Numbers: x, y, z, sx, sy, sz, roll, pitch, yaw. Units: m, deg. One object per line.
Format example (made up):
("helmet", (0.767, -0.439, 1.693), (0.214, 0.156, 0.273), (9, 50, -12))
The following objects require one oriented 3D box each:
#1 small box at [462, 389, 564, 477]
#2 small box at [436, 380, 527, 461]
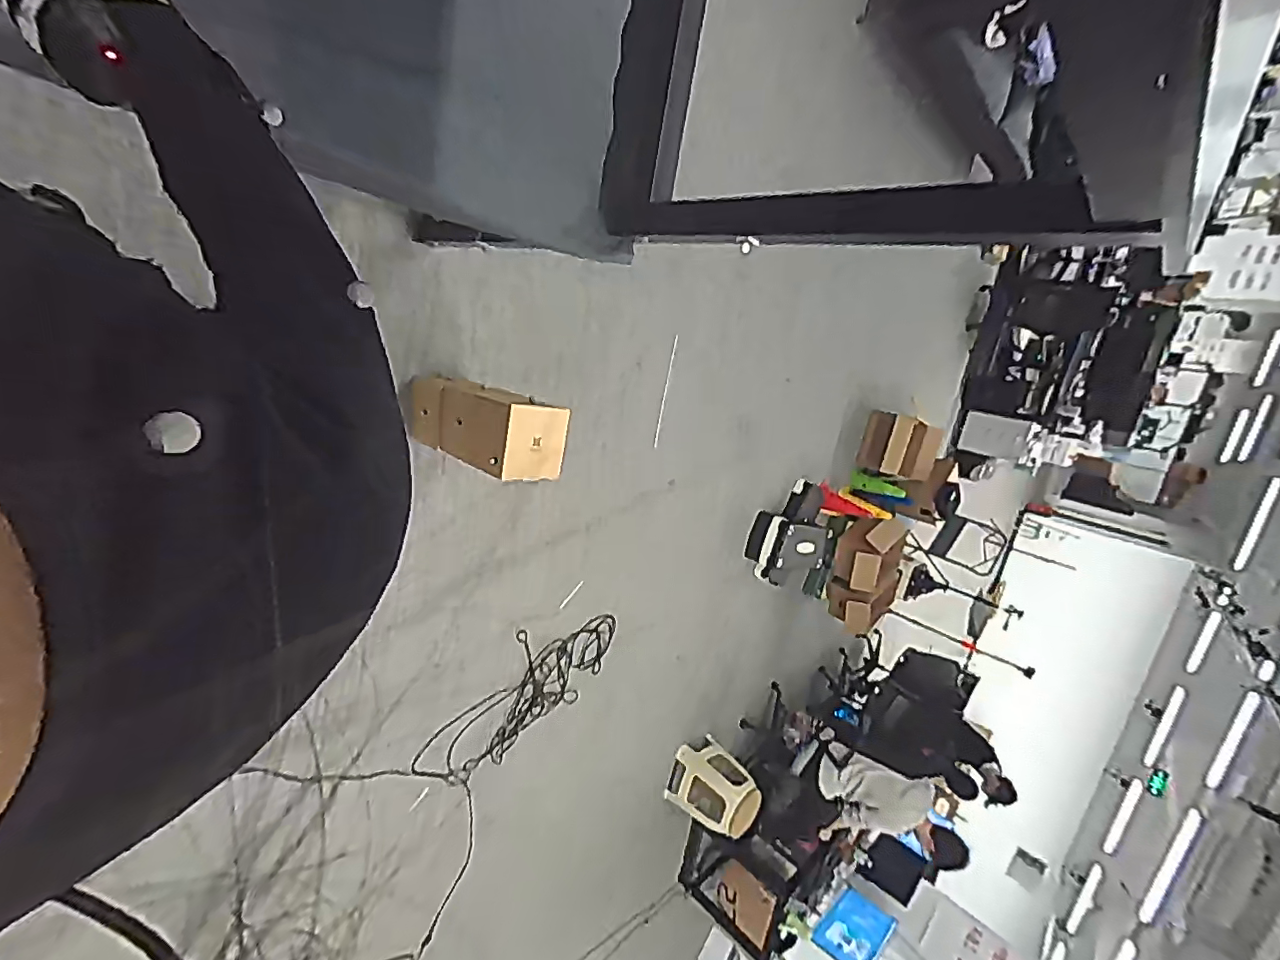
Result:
("small box", (-0.307, -0.113, 1.289), (0.168, 0.176, 0.179), (-2, 108, -46))
("small box", (-0.415, -0.155, 1.406), (0.168, 0.176, 0.179), (-6, 110, -46))
